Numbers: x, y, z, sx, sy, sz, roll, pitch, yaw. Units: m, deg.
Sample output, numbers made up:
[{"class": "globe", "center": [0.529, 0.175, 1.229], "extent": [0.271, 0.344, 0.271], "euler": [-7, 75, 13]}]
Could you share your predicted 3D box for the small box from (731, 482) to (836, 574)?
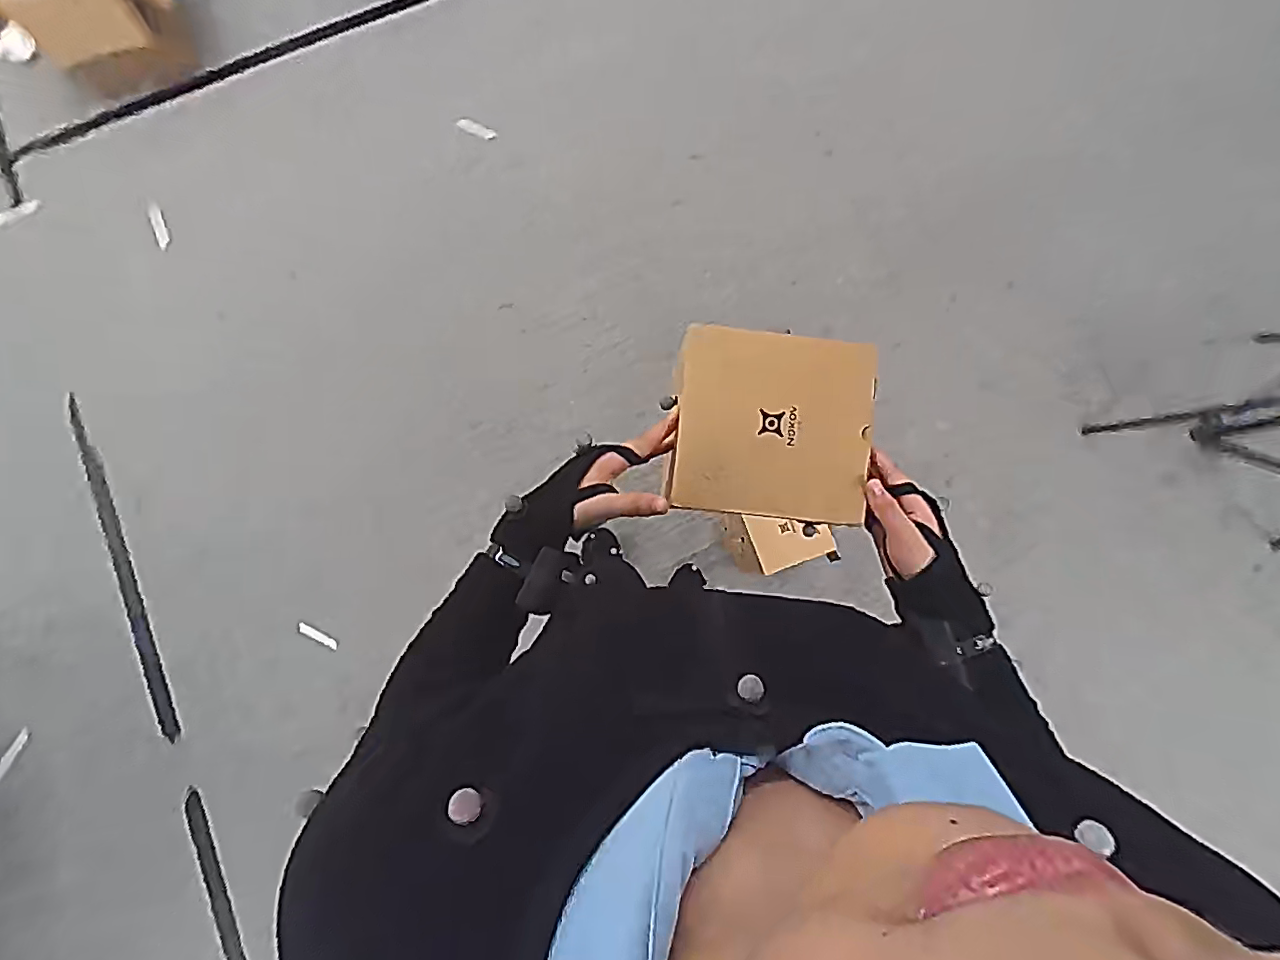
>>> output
[{"class": "small box", "center": [0.324, 0.118, 1.271], "extent": [0.179, 0.176, 0.168], "euler": [-19, 83, -3]}]
